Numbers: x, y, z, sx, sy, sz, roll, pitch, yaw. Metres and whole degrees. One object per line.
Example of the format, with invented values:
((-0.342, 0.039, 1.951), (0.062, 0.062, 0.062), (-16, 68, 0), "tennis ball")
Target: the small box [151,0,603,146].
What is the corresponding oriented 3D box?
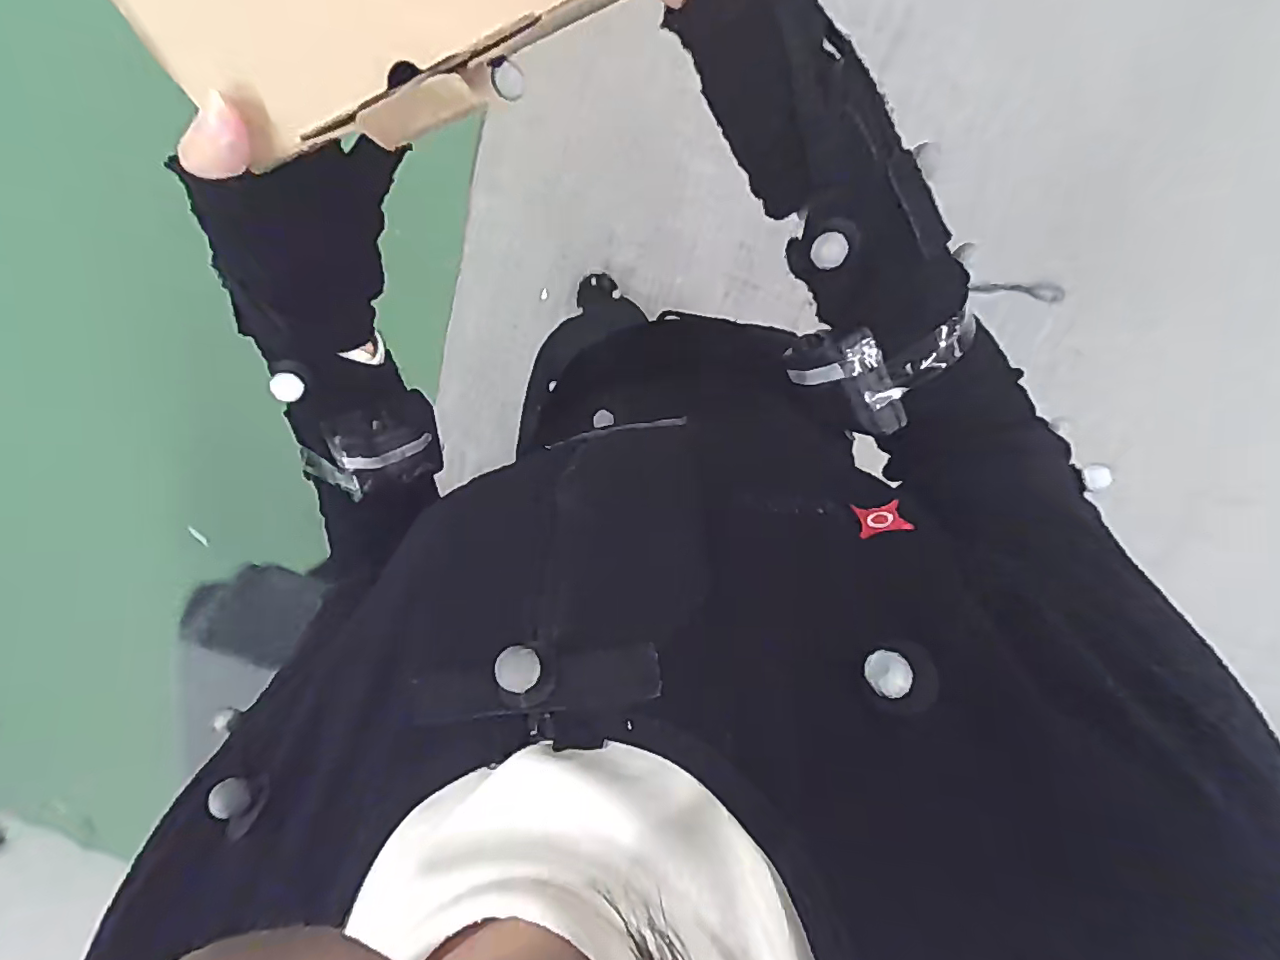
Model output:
((-0.089, -0.257, 0.187), (0.168, 0.176, 0.179), (-8, 132, 19), "small box")
